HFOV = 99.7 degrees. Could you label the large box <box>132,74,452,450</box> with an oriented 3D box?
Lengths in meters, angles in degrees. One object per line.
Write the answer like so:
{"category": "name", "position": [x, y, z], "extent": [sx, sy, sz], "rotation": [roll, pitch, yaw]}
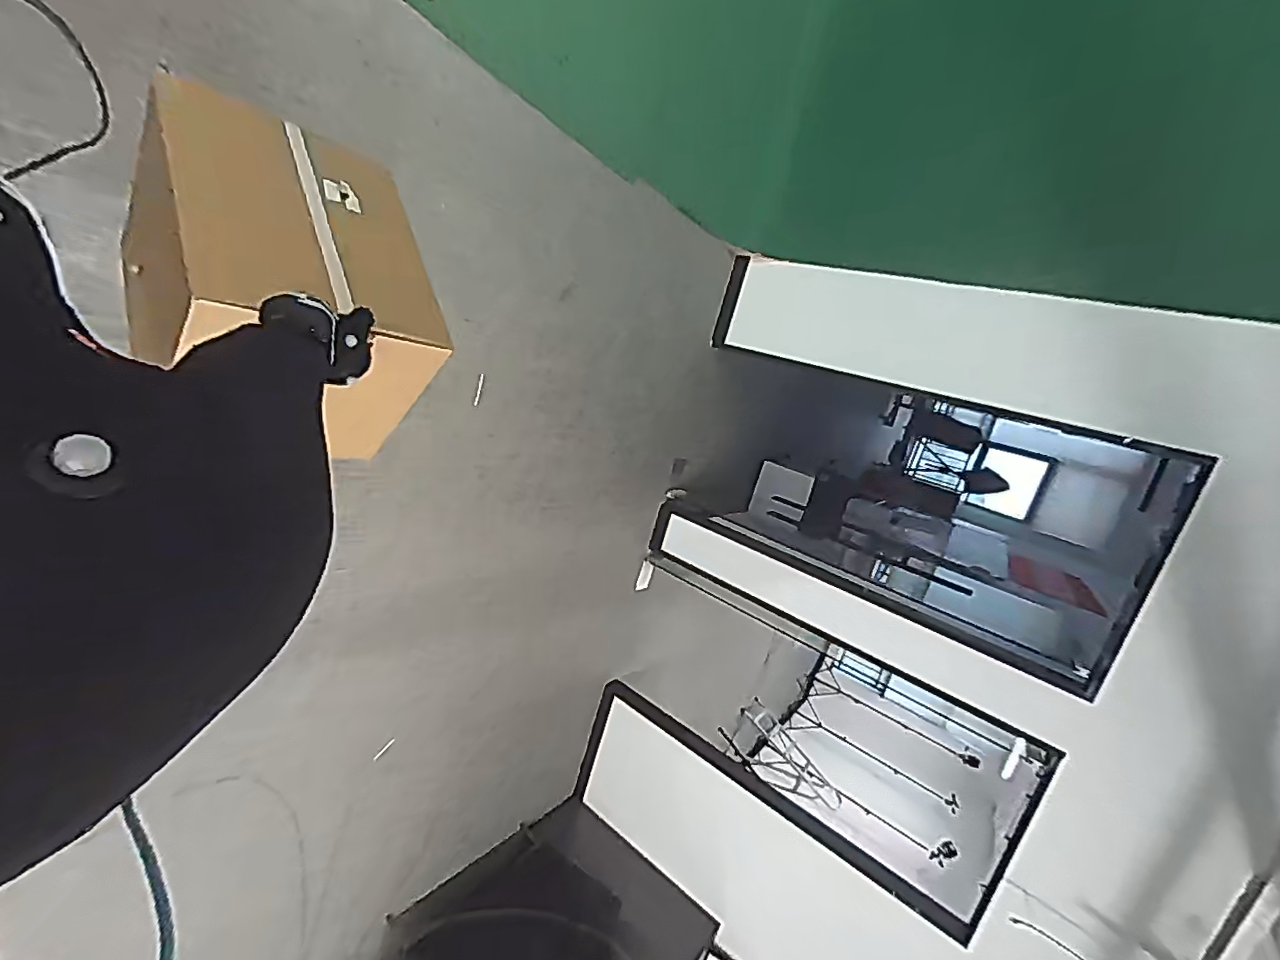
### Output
{"category": "large box", "position": [-0.557, -0.293, 0.850], "extent": [0.320, 0.408, 0.320], "rotation": [-37, 158, 33]}
